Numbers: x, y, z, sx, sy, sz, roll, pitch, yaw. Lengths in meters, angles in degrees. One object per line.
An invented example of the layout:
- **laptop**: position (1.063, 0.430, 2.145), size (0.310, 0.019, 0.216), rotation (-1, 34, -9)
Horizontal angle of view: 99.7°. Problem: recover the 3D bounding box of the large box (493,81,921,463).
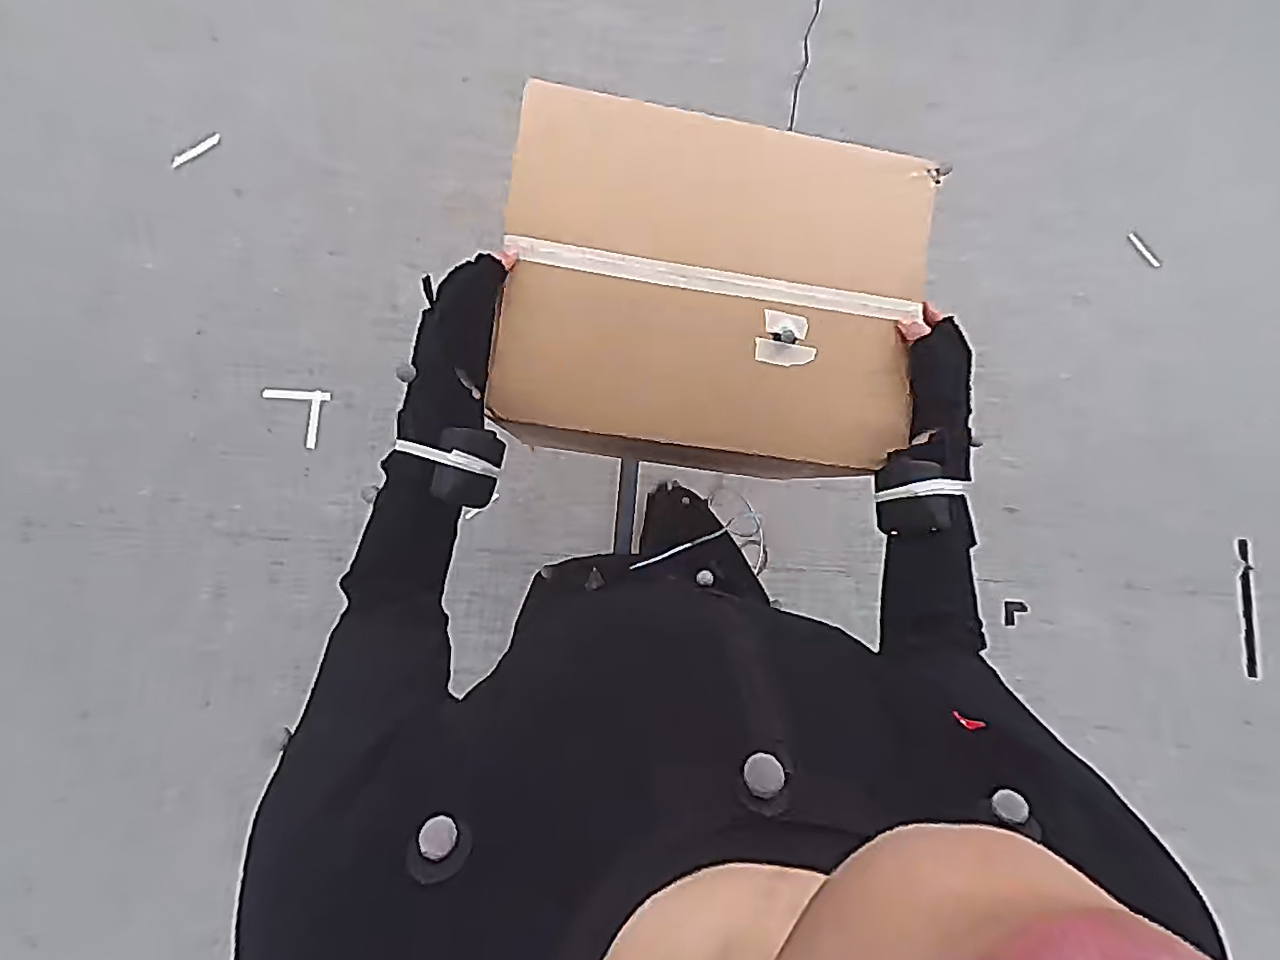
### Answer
- **large box**: position (0.055, -0.200, 0.673), size (0.408, 0.320, 0.320), rotation (8, 90, -7)
